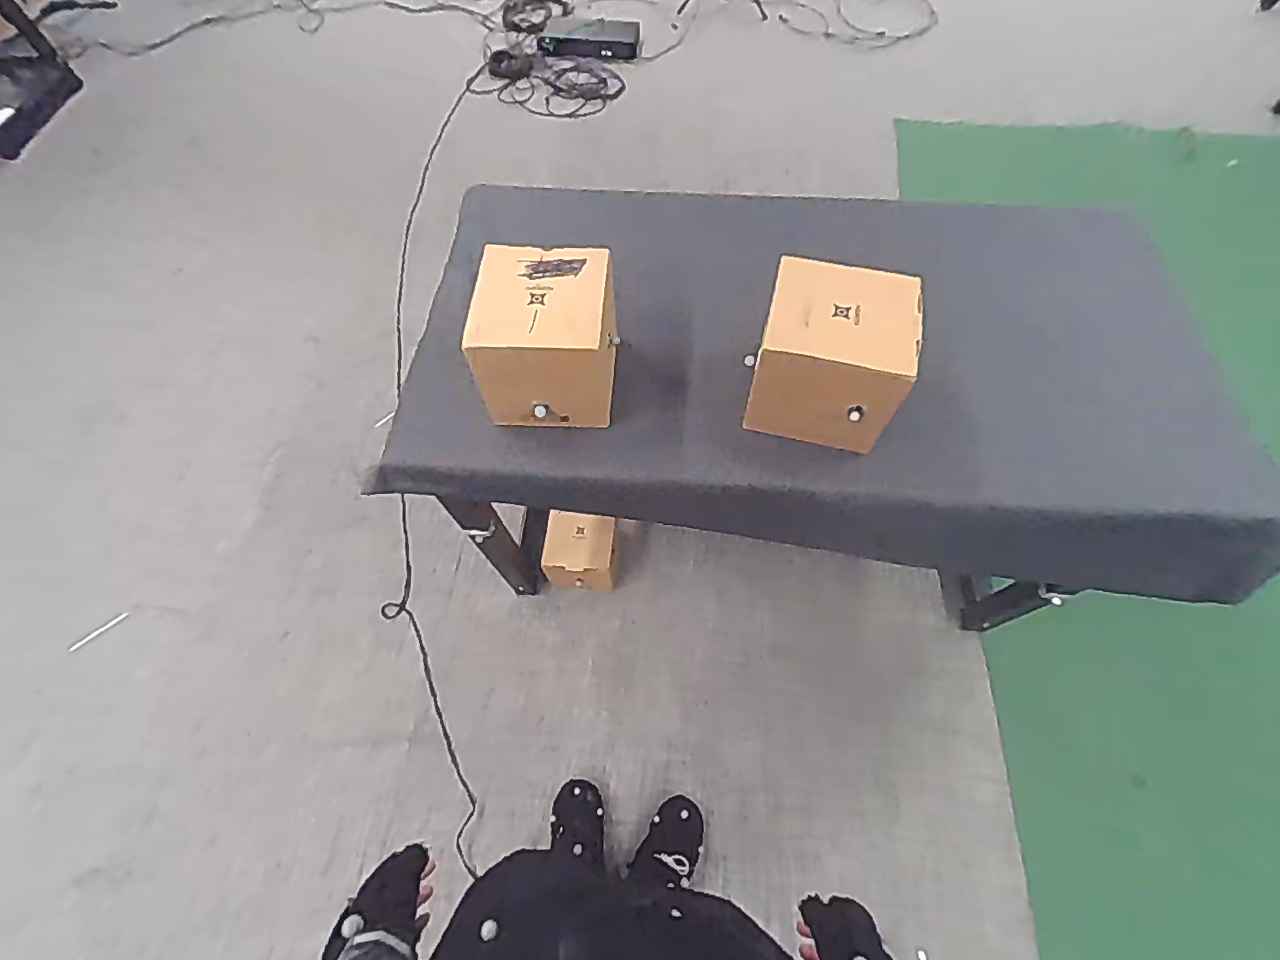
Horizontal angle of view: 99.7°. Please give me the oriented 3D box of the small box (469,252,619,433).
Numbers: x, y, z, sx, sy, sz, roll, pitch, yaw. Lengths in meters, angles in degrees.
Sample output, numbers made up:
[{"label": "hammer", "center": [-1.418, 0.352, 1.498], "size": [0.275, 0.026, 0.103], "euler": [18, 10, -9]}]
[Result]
[{"label": "small box", "center": [-0.118, -0.186, 0.746], "size": [0.168, 0.176, 0.179], "euler": [2, 61, 2]}]

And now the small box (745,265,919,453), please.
[{"label": "small box", "center": [0.251, -0.155, 0.727], "size": [0.179, 0.176, 0.168], "euler": [12, 61, 9]}]
